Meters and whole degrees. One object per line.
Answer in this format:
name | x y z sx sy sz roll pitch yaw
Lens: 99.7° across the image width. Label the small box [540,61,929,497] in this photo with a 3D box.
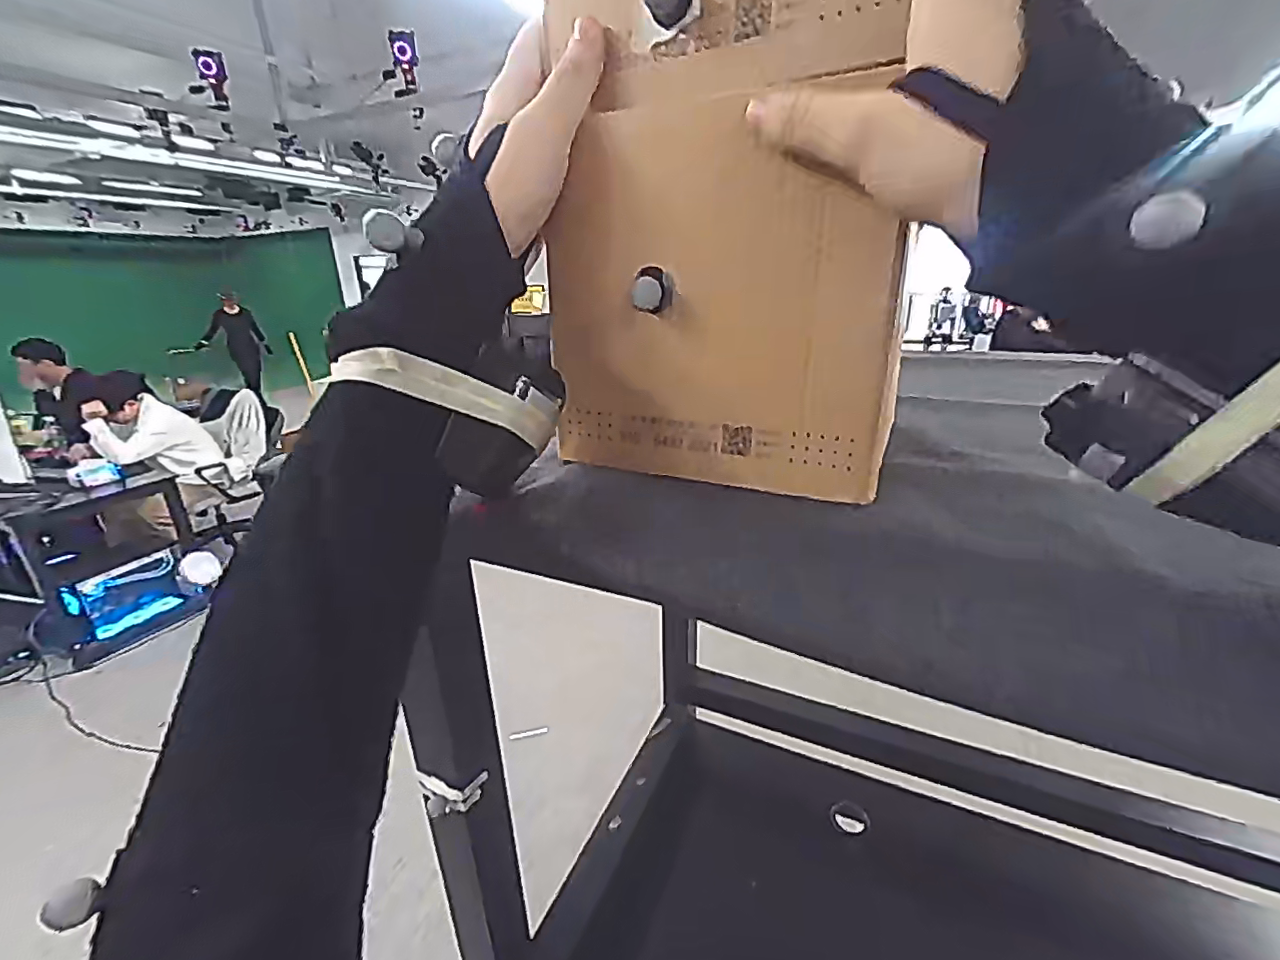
small box | 0.064 -0.099 0.314 0.168 0.176 0.179 9 20 25
